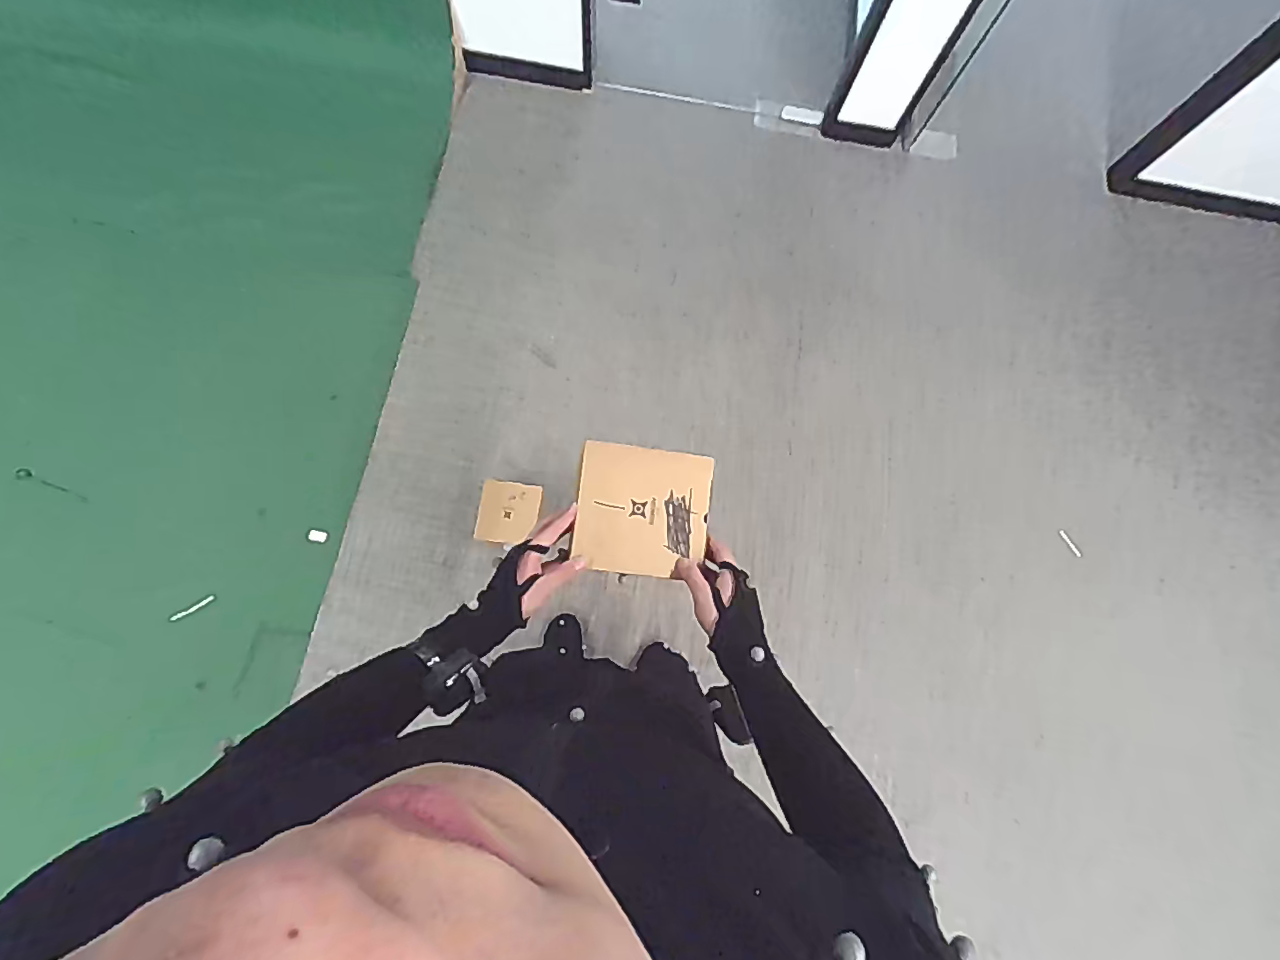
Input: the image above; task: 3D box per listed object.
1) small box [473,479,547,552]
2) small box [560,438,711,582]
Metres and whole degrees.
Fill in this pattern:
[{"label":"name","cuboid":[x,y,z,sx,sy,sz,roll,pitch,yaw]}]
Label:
[{"label":"small box","cuboid":[-0.371,0.110,1.577,0.168,0.176,0.179,9,75,-3]},{"label":"small box","cuboid":[-0.014,0.047,0.759,0.179,0.176,0.168,8,81,-8]}]
